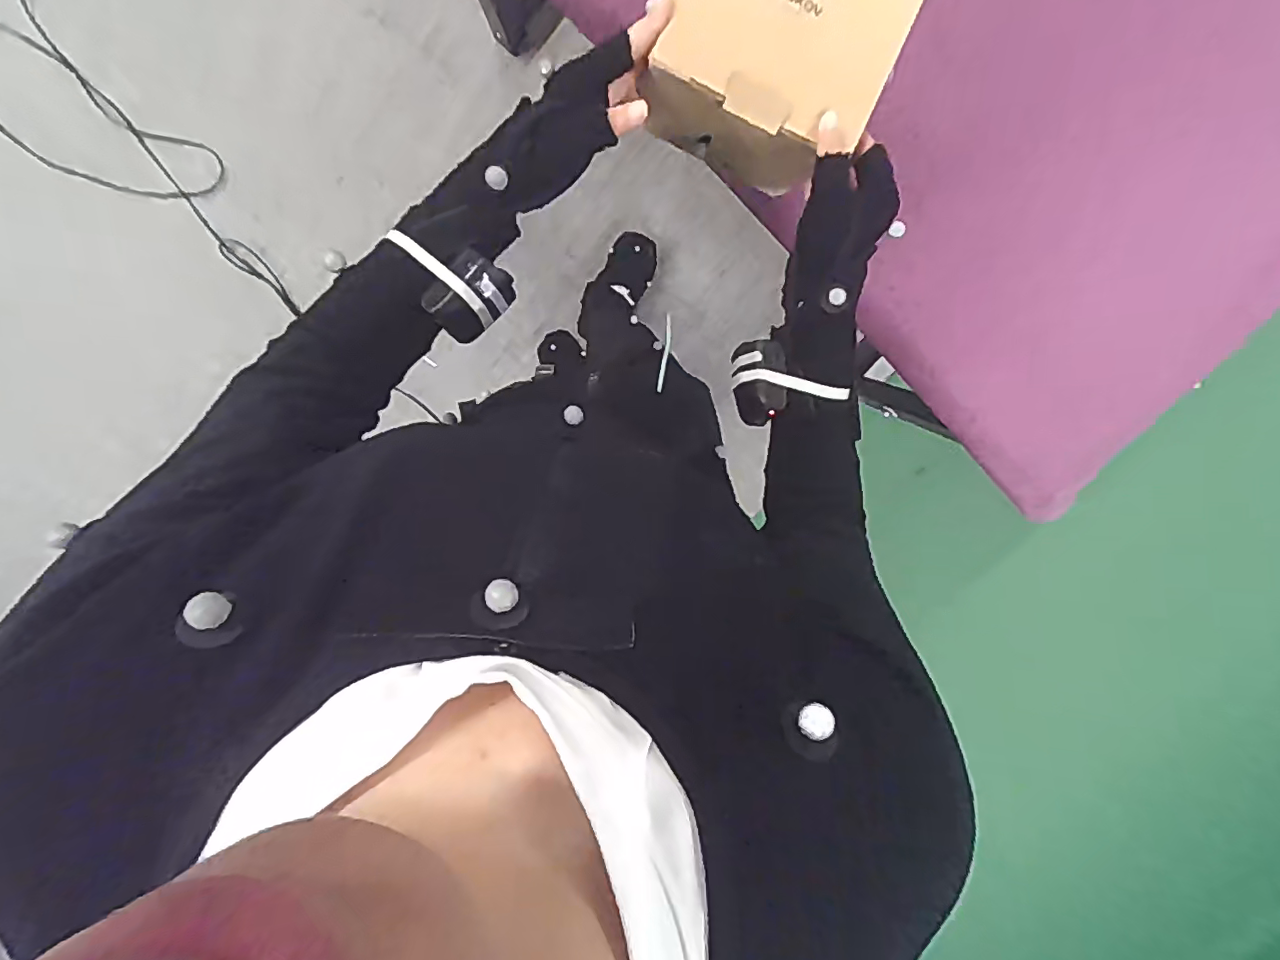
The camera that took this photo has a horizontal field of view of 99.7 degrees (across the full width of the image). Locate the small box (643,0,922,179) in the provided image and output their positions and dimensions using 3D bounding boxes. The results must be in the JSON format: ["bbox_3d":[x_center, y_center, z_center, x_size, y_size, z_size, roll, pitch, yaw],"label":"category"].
[{"bbox_3d":[0.110,-0.379,0.443,0.168,0.176,0.179,20,109,-12],"label":"small box"}]
